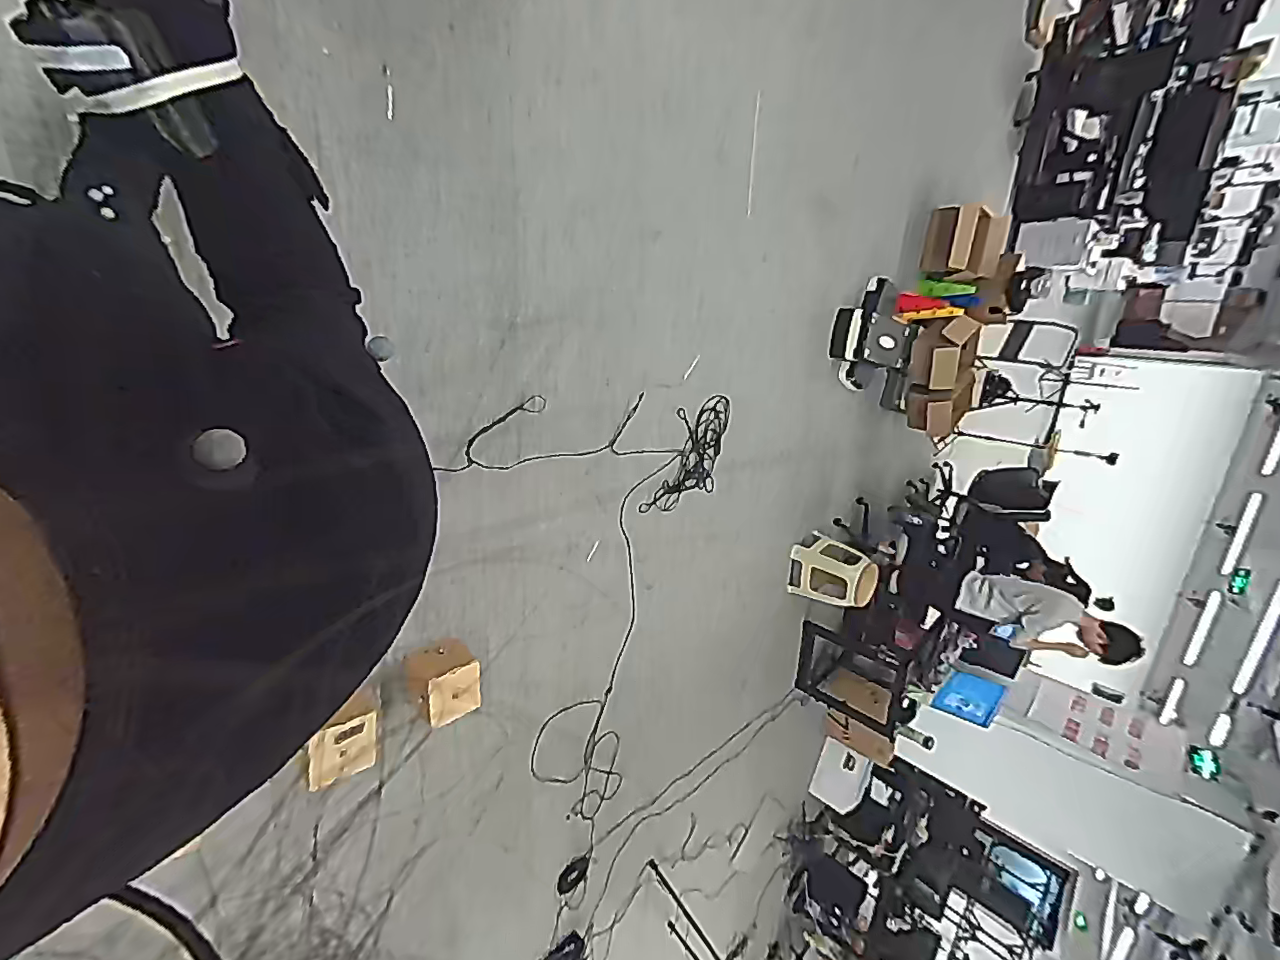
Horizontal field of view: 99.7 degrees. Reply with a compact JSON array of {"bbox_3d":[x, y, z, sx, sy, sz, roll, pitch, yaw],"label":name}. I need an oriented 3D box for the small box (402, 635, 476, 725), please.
[{"bbox_3d":[-0.631,0.620,1.698,0.168,0.176,0.179,-14,114,-44],"label":"small box"}]

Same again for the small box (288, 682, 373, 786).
[{"bbox_3d":[-0.851,0.680,1.481,0.168,0.176,0.179,-5,109,-46],"label":"small box"}]
